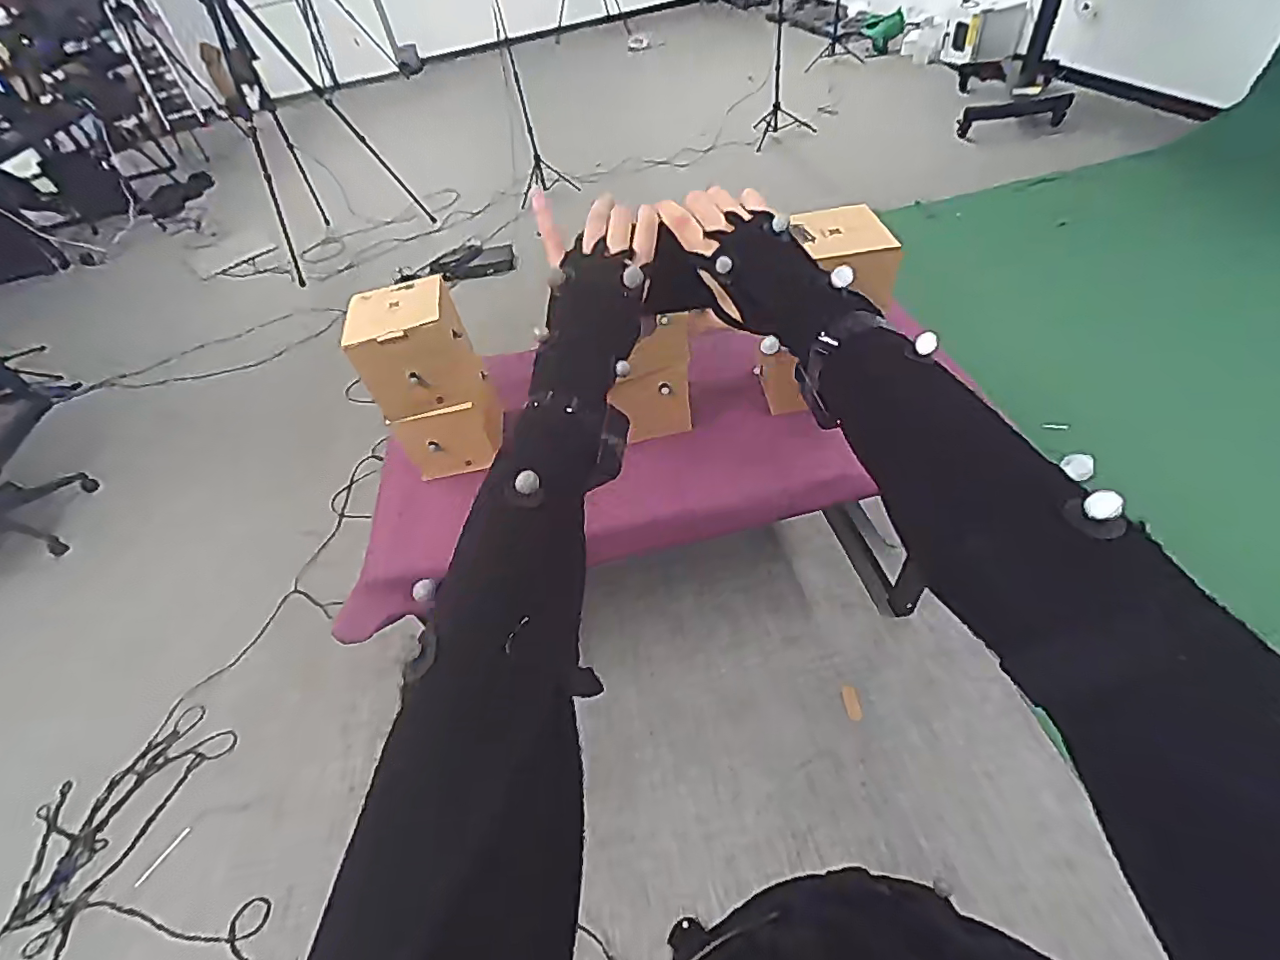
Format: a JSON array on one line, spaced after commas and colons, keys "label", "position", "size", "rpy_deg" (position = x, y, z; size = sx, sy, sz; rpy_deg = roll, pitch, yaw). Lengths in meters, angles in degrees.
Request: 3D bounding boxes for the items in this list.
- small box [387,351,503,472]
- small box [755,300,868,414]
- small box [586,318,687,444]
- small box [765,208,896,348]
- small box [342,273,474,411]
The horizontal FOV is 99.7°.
[{"label": "small box", "position": [-0.389, -0.133, 1.111], "size": [0.168, 0.176, 0.179], "rpy_deg": [-11, 48, 1]}, {"label": "small box", "position": [0.332, -0.253, 1.084], "size": [0.179, 0.176, 0.168], "rpy_deg": [-7, 48, 5]}, {"label": "small box", "position": [-0.003, -0.197, 1.094], "size": [0.179, 0.176, 0.168], "rpy_deg": [-12, 48, 0]}, {"label": "small box", "position": [0.321, -0.350, 0.952], "size": [0.179, 0.176, 0.168], "rpy_deg": [-7, 48, 4]}, {"label": "small box", "position": [-0.413, -0.246, 0.994], "size": [0.168, 0.176, 0.179], "rpy_deg": [-14, 49, -3]}]
